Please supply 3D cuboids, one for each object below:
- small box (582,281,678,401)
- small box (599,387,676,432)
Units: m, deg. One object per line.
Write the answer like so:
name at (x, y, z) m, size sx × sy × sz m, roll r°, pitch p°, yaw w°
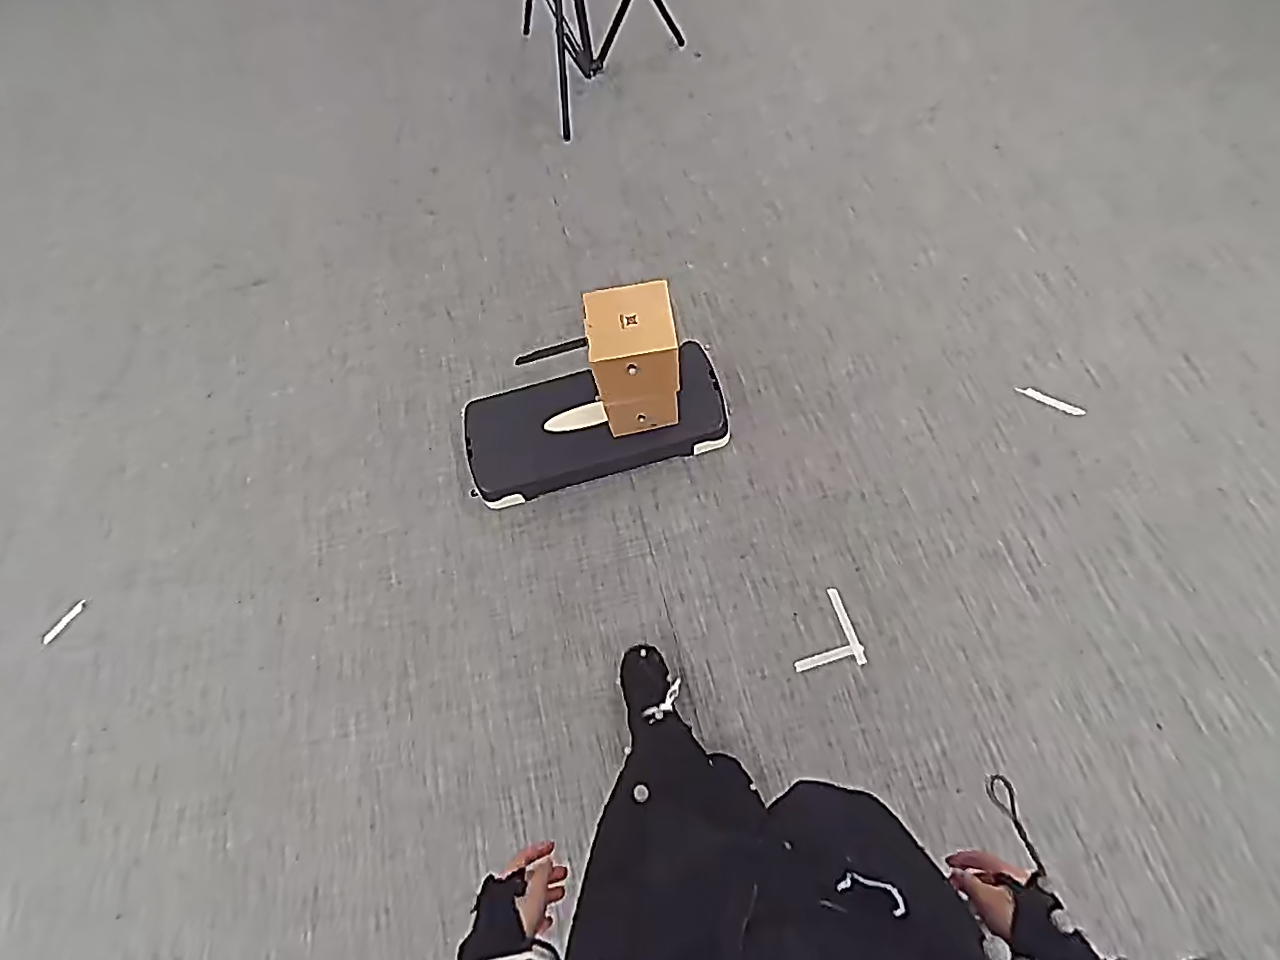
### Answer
small box at (-0.015, -0.284, 1.136) m, size 0.179 × 0.176 × 0.168 m, roll -9°, pitch 70°, yaw 3°
small box at (-0.011, -0.227, 1.289) m, size 0.168 × 0.176 × 0.179 m, roll -11°, pitch 69°, yaw 1°
